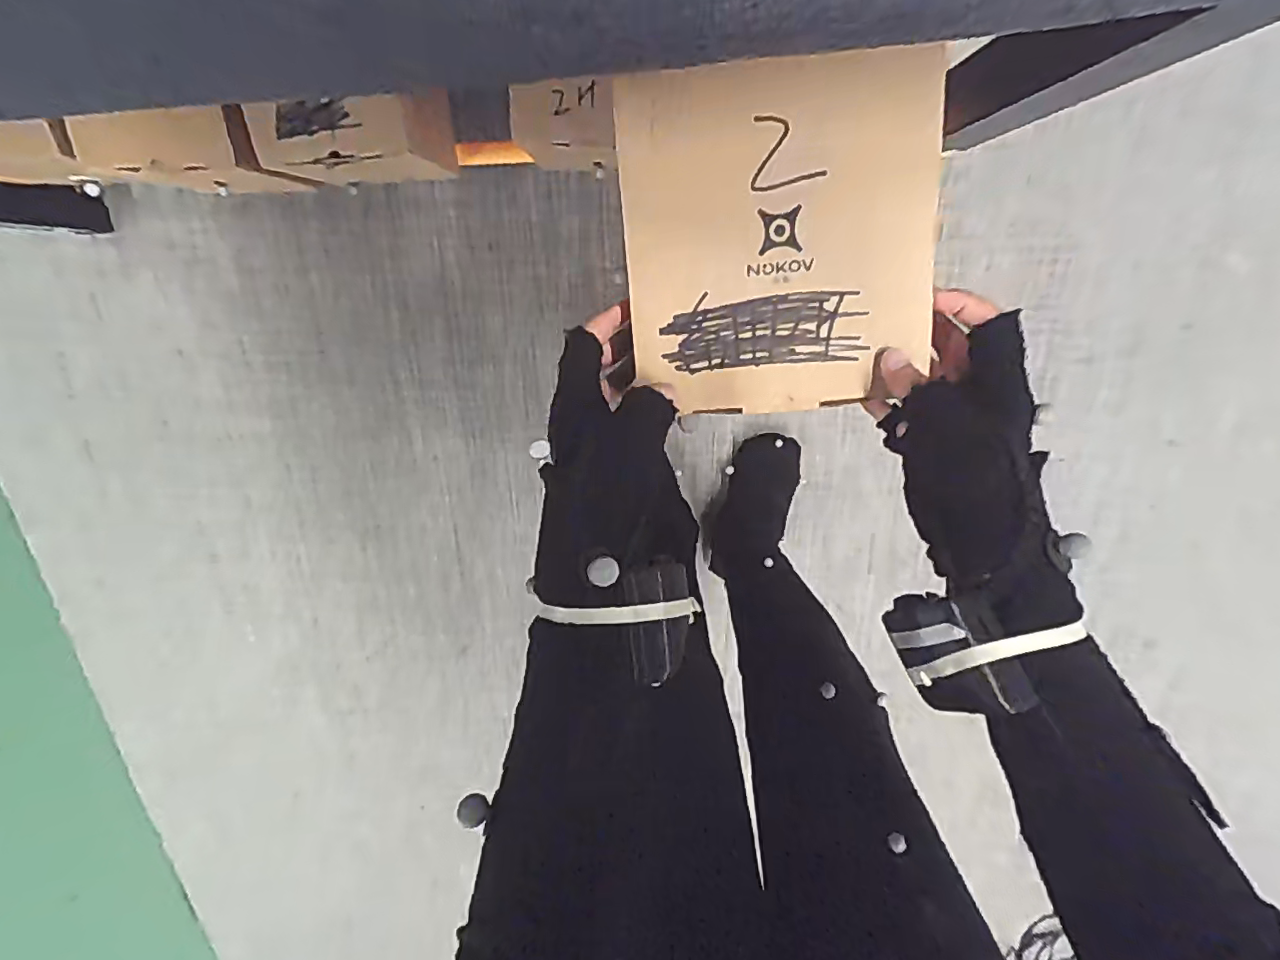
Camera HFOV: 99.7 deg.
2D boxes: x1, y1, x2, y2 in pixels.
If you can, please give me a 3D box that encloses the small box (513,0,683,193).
[{"bbox_3d":[-0.042,-0.437,0.611,0.168,0.176,0.179,3,112,1],"label":"small box"}]
